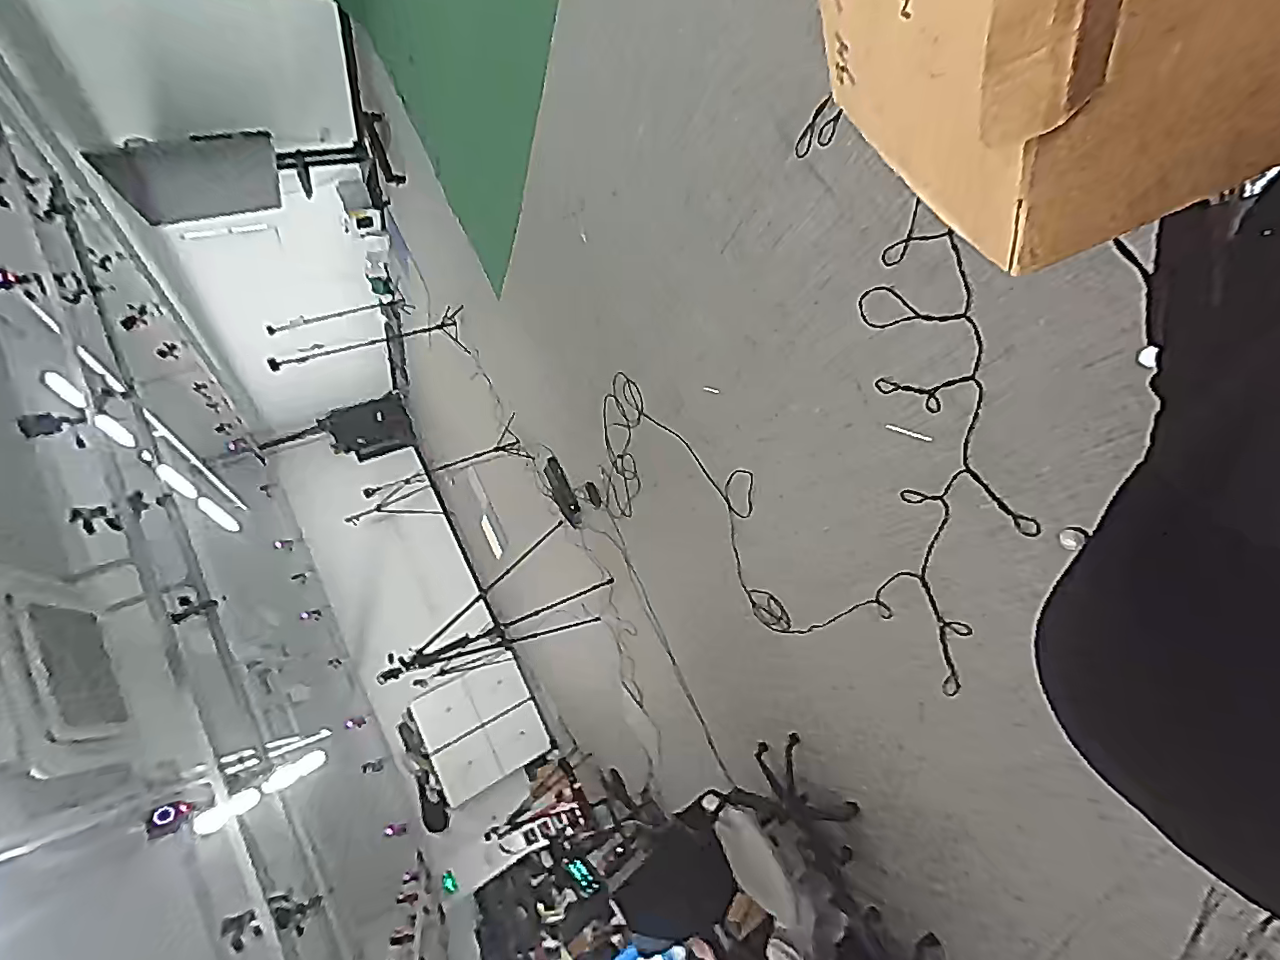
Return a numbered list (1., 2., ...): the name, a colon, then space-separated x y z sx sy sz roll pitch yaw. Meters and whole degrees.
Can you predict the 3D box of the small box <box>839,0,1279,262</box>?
1. small box: 0.169 -0.215 0.167 0.168 0.176 0.179 49 -156 -52
